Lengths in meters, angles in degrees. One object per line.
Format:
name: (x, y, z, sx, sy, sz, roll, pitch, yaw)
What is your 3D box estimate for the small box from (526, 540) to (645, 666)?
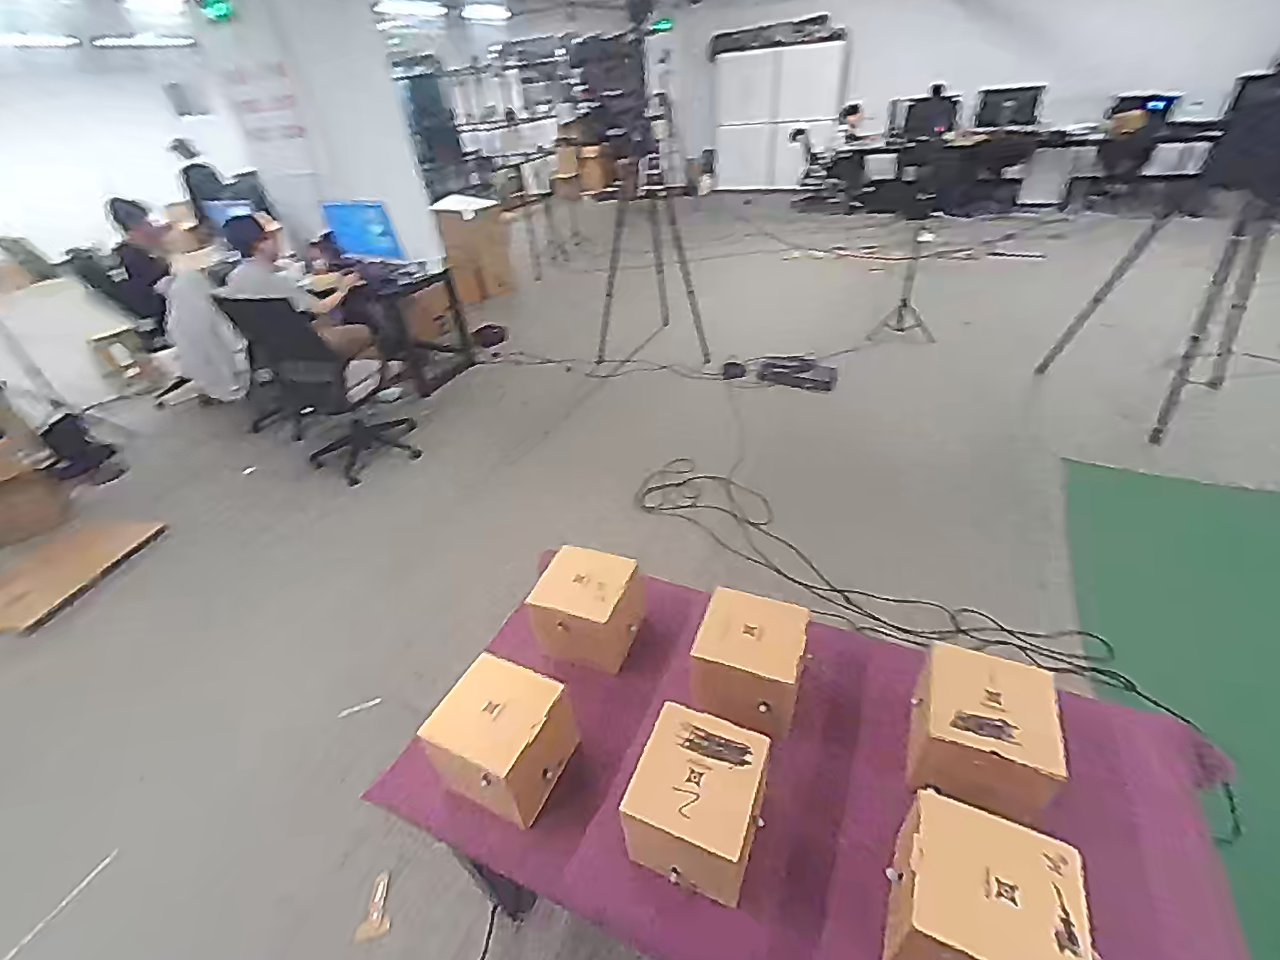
small box: (-0.102, 0.252, 1.105, 0.179, 0.176, 0.168, 10, 41, 21)

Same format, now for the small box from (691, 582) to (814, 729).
small box: (0.203, 0.317, 0.975, 0.179, 0.176, 0.168, 10, 40, 23)

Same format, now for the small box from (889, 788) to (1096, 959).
small box: (0.415, 0.526, 0.659, 0.179, 0.176, 0.168, 13, 40, 25)

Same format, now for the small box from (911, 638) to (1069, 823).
small box: (0.527, 0.384, 0.833, 0.168, 0.176, 0.179, 12, 40, 24)

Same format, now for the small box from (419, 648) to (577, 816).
small box: (-0.226, 0.419, 0.902, 0.179, 0.176, 0.168, 13, 39, 23)
